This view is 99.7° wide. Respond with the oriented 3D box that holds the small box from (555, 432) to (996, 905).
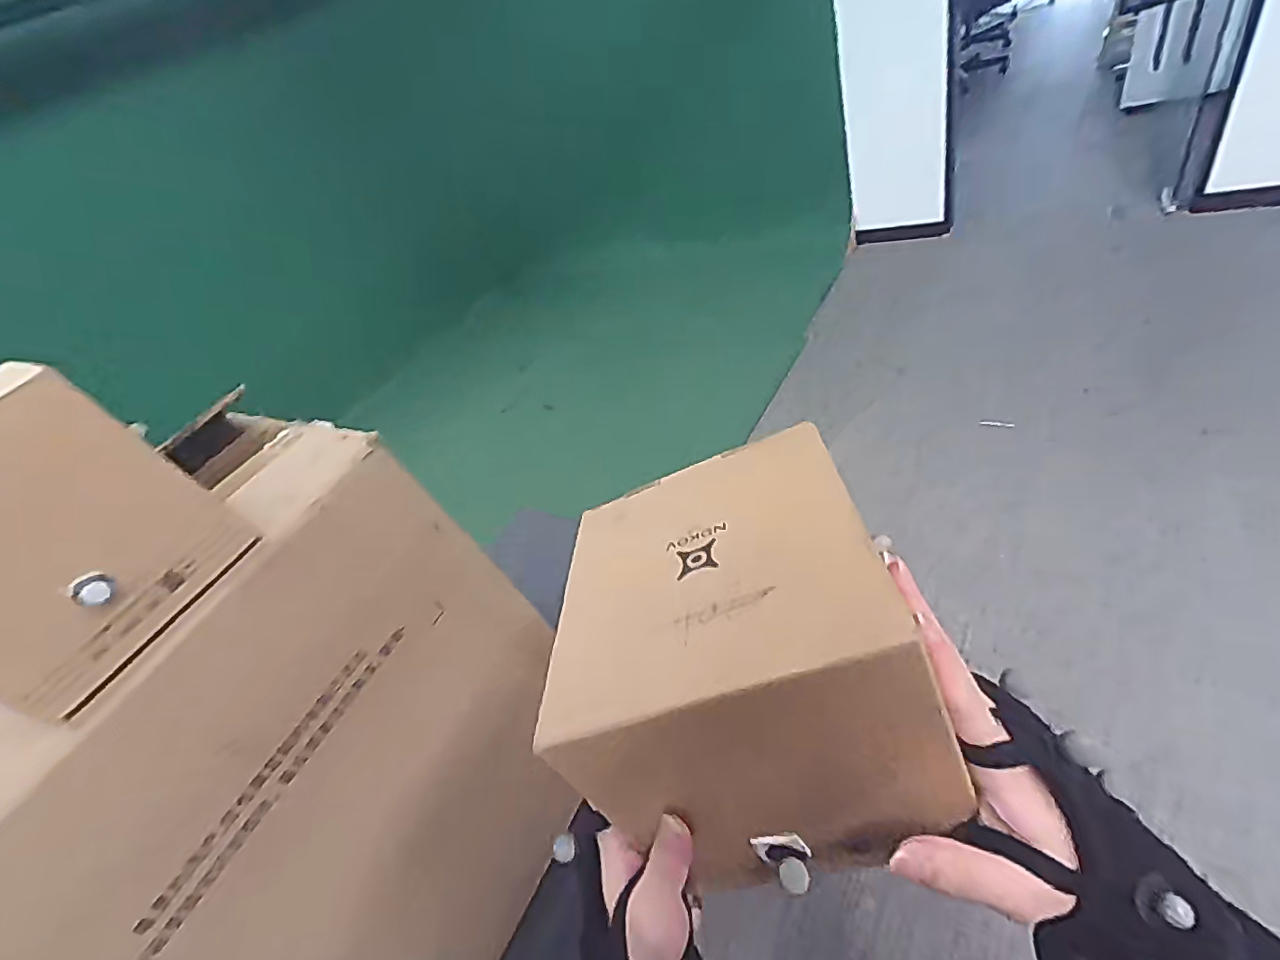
[{"bbox_3d":[0.074,0.106,0.320,0.168,0.176,0.179,-23,29,15],"label":"small box"}]
